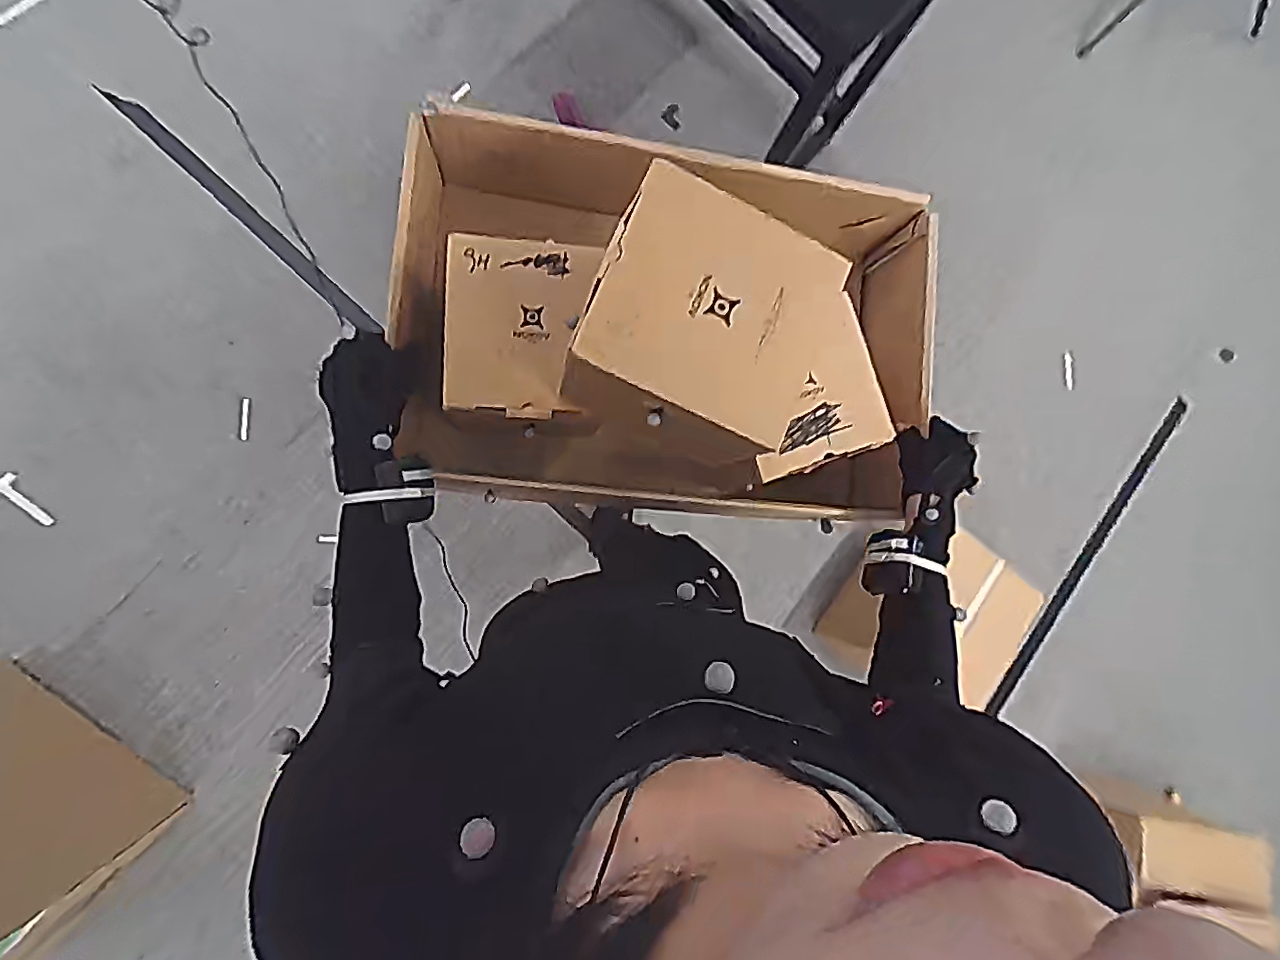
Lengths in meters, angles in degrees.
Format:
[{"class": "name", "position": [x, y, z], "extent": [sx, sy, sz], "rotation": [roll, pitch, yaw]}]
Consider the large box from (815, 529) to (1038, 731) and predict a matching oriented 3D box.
[{"class": "large box", "position": [0.768, 0.381, 1.487], "extent": [0.320, 0.320, 0.408], "rotation": [39, 79, -3]}]
